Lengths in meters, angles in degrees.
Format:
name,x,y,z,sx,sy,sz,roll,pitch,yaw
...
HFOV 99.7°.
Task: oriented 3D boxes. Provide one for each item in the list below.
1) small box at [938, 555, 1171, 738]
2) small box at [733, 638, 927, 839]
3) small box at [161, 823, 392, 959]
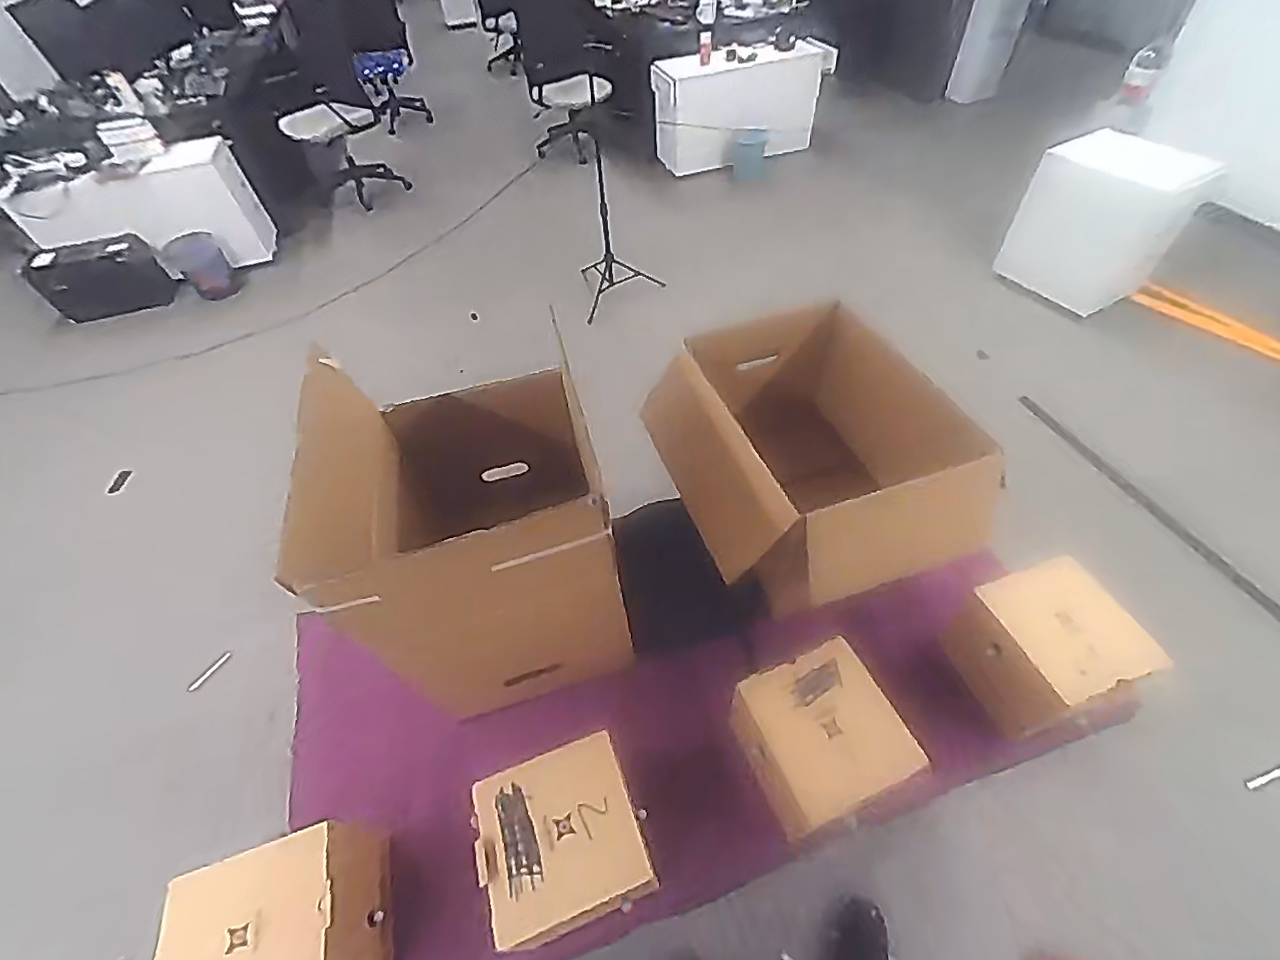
name,x,y,z,sx,sy,sz,roll,pitch,yaw
small box,0.576,0.243,0.786,0.168,0.176,0.179,-17,51,-7
small box,0.237,0.350,0.731,0.168,0.176,0.179,-20,53,-11
small box,-0.413,0.538,0.635,0.179,0.176,0.168,-17,51,-10
